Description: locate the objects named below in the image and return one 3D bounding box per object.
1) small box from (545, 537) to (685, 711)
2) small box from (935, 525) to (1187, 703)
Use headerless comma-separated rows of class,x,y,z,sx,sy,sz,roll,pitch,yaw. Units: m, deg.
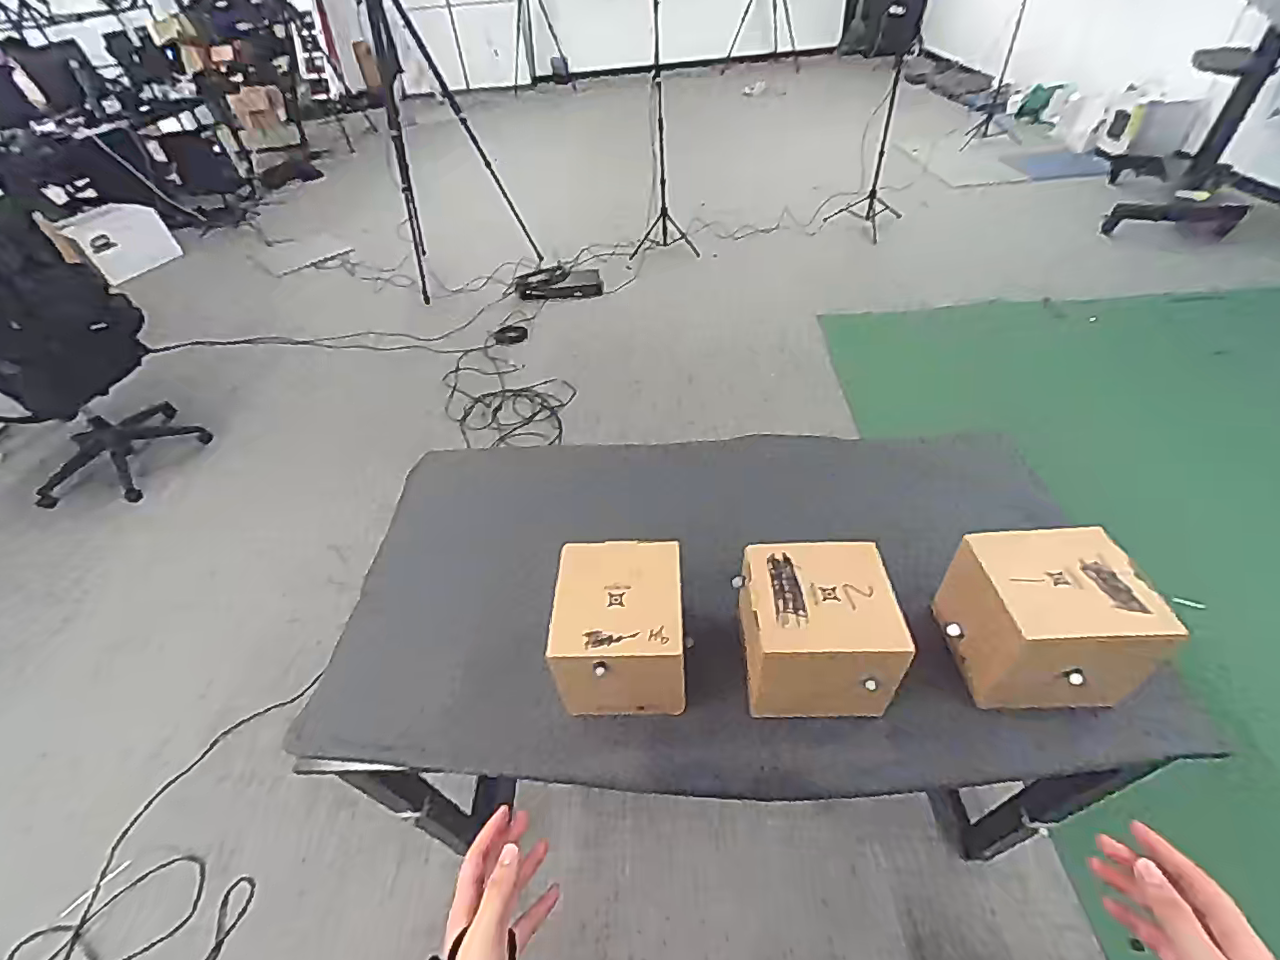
small box,-0.024,0.199,0.754,0.168,0.176,0.179,-2,44,6
small box,0.523,0.177,0.708,0.179,0.176,0.168,-3,42,5
